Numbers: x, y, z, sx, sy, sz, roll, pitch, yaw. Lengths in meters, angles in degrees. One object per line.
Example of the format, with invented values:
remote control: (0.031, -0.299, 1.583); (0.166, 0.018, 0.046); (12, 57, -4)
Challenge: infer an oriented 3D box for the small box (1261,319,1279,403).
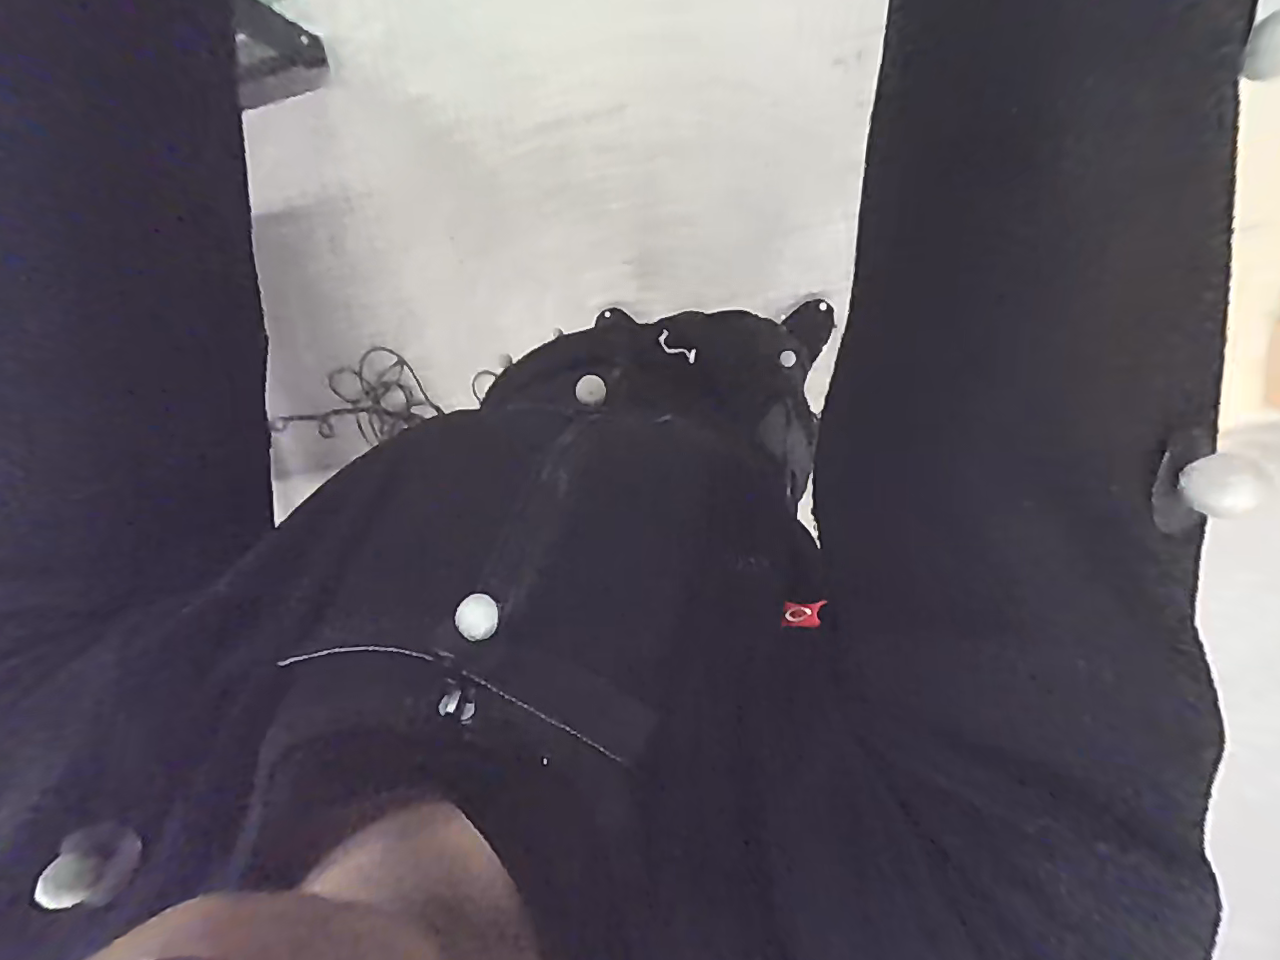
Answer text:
small box: (1.340, -0.227, 1.012); (0.168, 0.176, 0.179); (-9, 108, 11)
